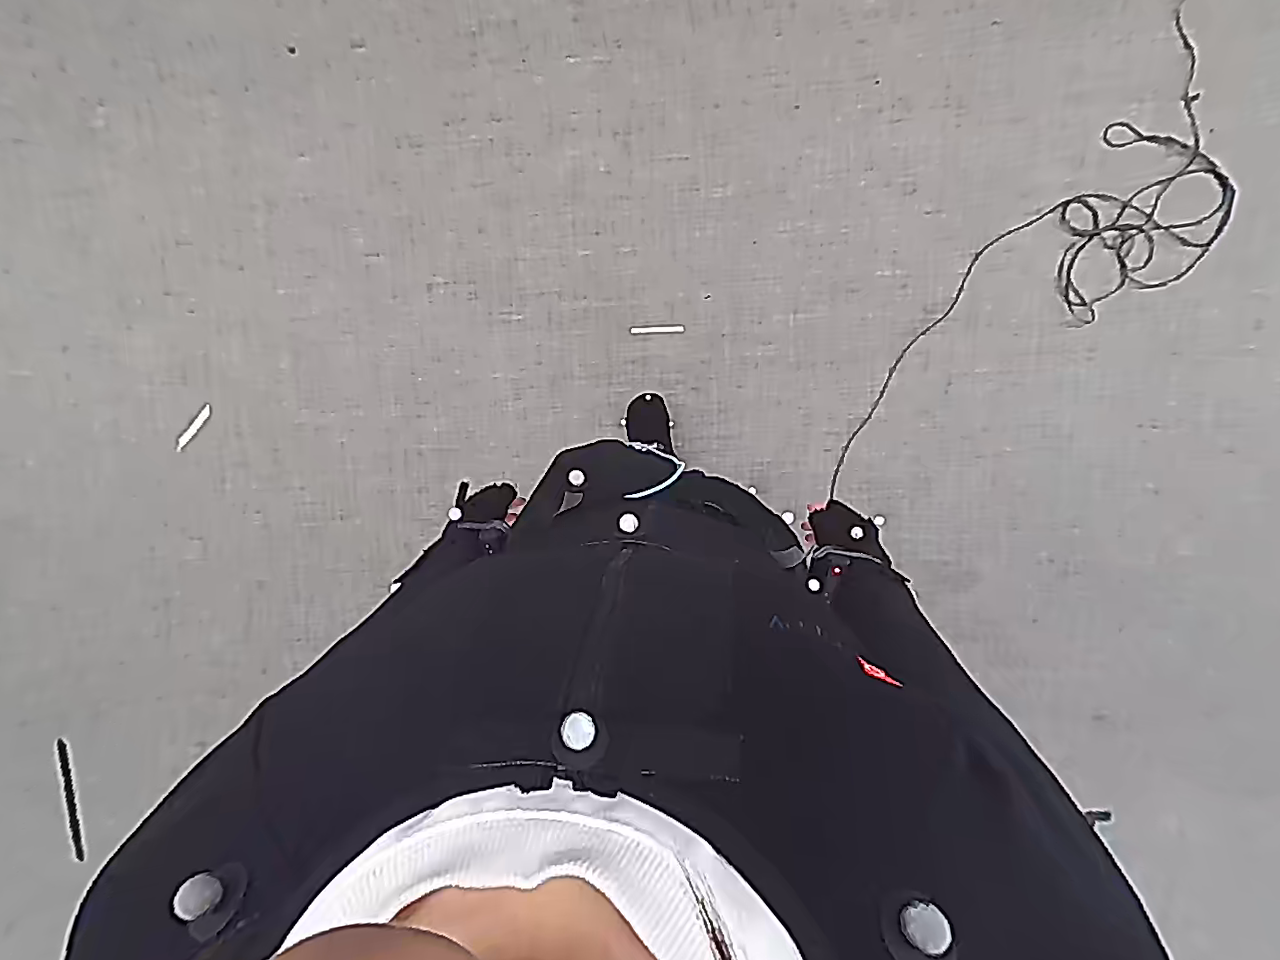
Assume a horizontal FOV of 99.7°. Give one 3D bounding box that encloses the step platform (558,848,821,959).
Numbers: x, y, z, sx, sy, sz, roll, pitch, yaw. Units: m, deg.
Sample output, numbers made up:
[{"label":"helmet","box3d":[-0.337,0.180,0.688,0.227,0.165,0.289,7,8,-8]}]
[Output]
[{"label":"step platform","box3d":[0.125,1.187,1.444,0.684,0.204,0.286,-3,94,6]}]
